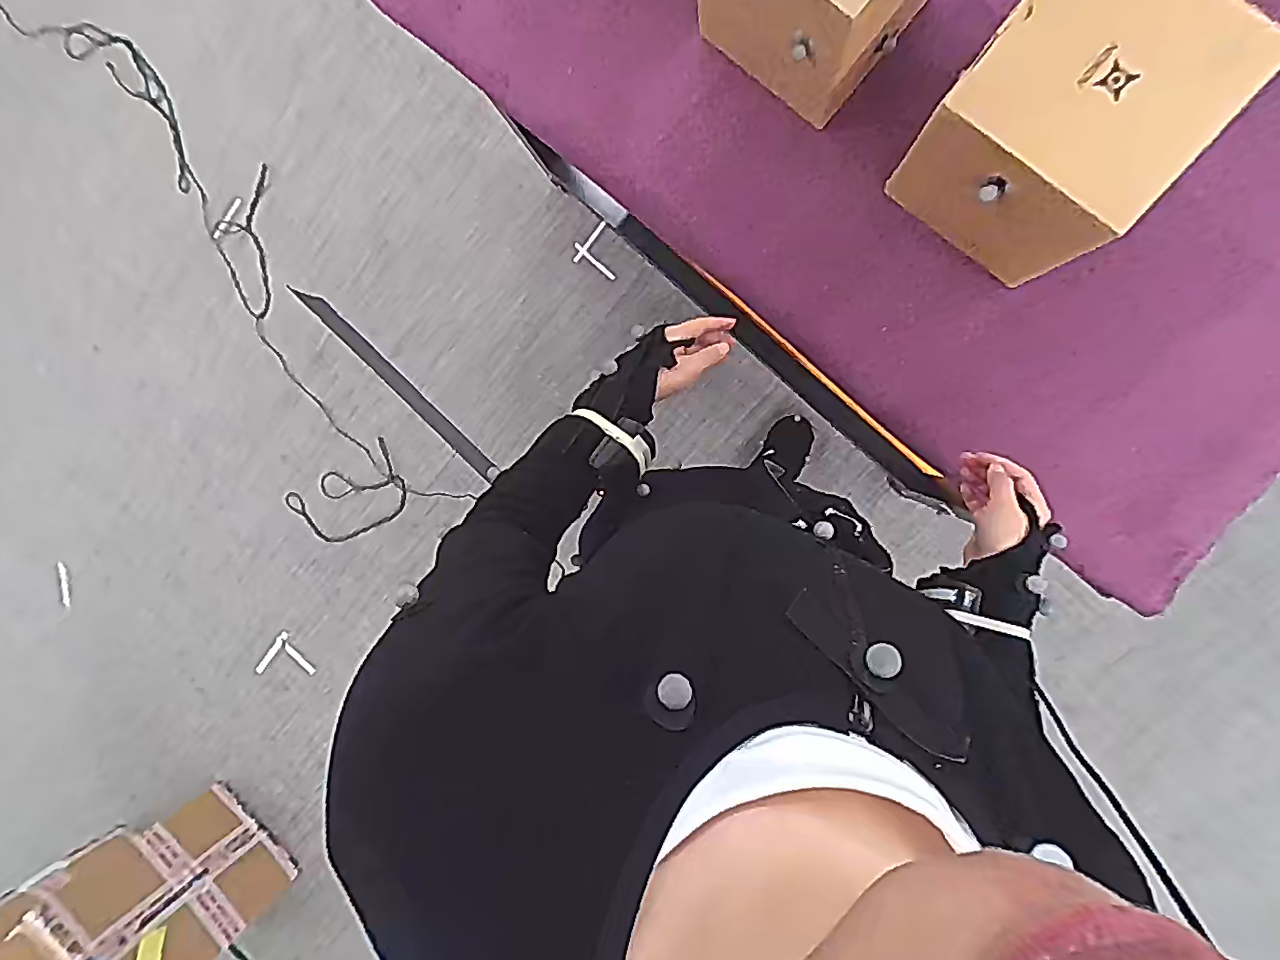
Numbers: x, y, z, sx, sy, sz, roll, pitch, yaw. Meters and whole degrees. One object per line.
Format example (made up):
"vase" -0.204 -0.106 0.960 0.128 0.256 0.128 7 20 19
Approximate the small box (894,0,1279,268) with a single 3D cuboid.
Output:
"small box" 0.370 -0.317 0.487 0.179 0.176 0.168 41 101 4

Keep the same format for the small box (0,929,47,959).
"small box" -1.468 1.178 1.210 0.179 0.176 0.168 43 98 6
